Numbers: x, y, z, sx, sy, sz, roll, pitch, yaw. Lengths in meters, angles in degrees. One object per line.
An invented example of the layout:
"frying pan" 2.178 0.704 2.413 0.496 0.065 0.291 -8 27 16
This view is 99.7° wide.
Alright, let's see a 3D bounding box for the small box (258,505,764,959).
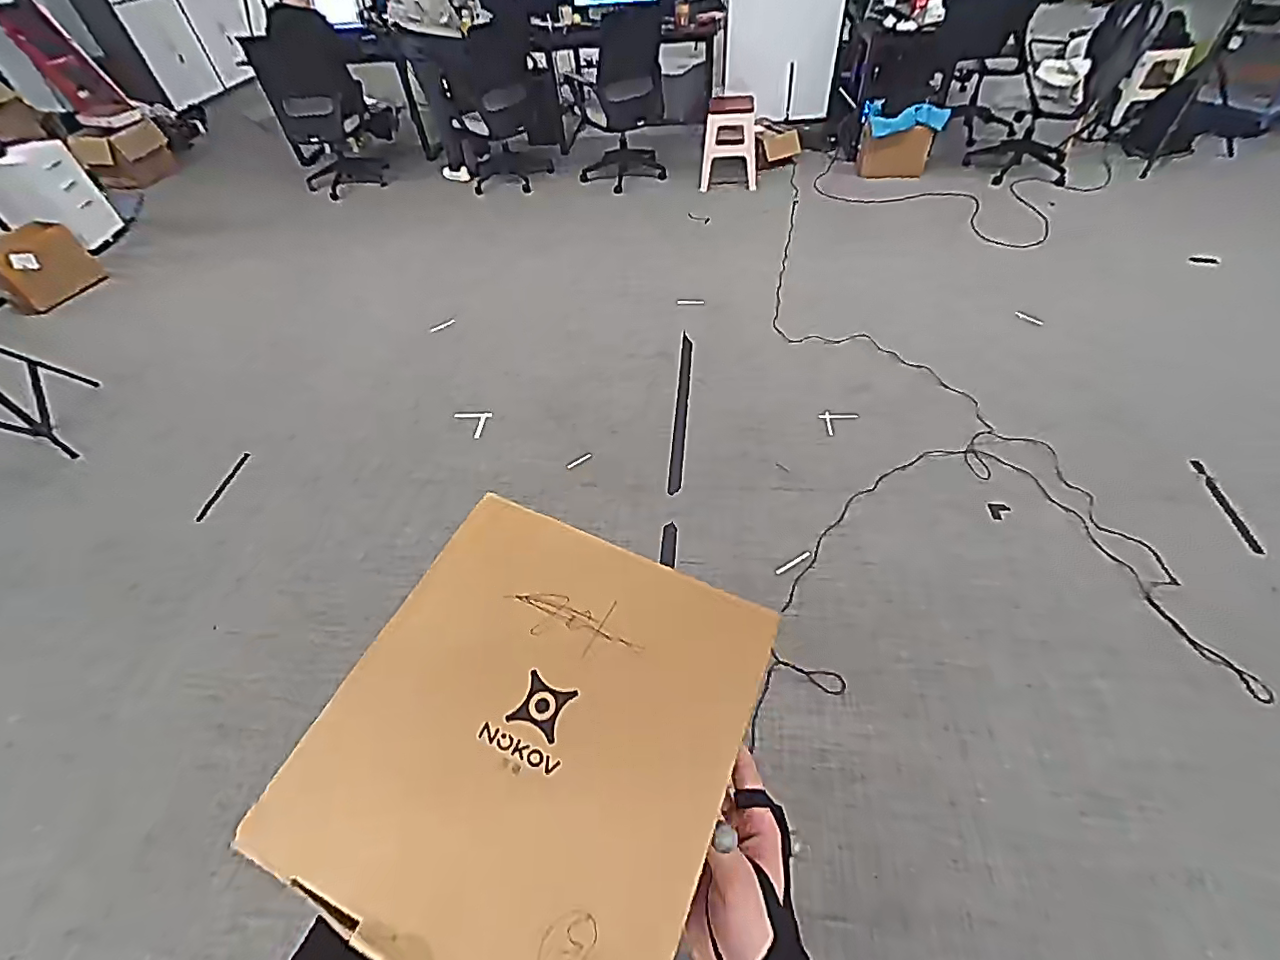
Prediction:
"small box" -0.047 0.151 0.306 0.168 0.176 0.179 21 56 12
